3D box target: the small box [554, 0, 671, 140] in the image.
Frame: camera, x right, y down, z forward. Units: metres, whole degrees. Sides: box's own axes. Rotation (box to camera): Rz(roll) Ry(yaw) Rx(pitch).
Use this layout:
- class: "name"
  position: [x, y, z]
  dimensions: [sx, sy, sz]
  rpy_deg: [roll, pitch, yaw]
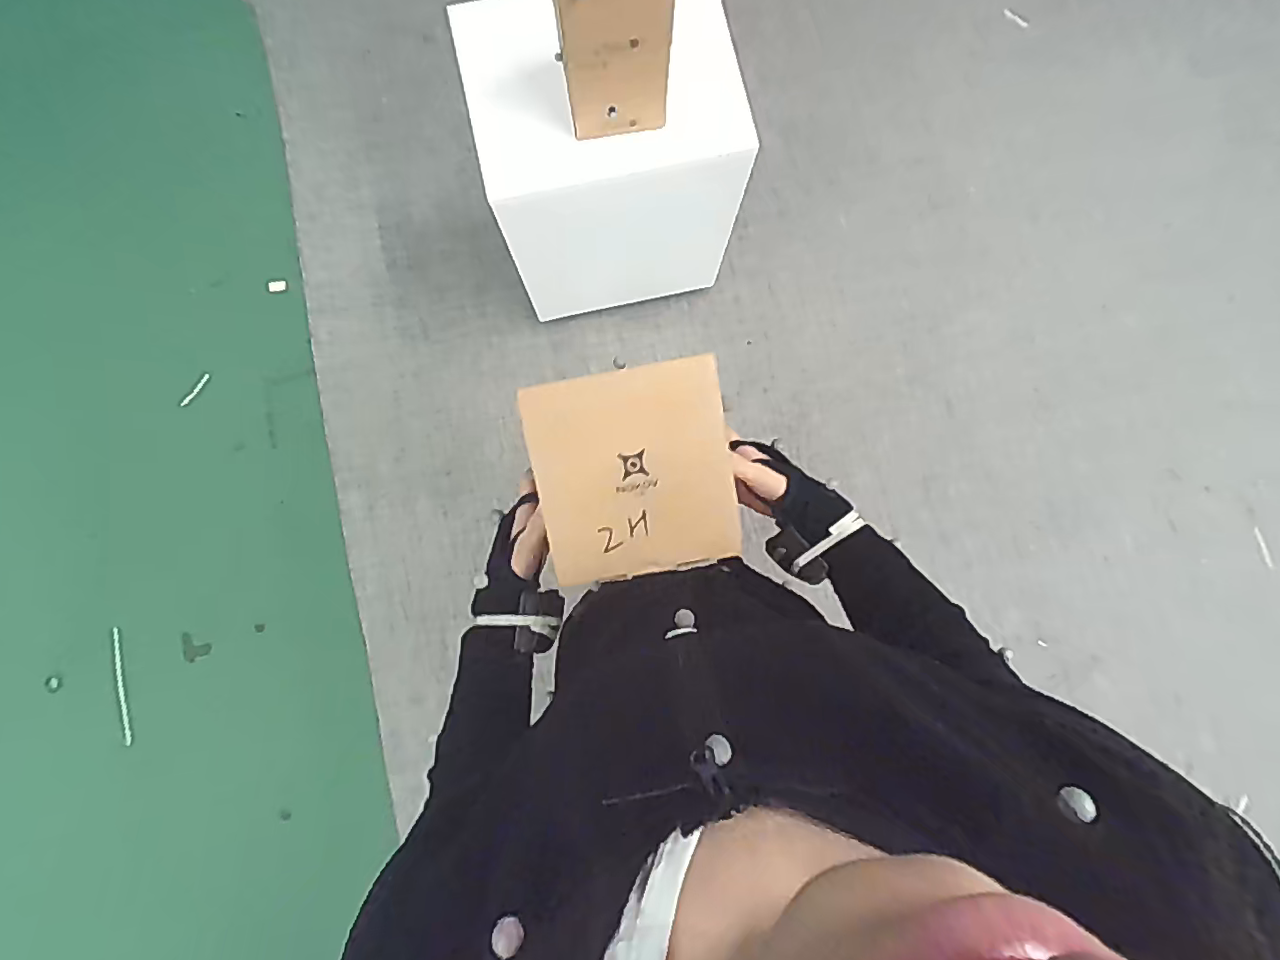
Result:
- class: "small box"
  position: [-0.049, -0.716, 0.906]
  dimensions: [0.168, 0.176, 0.179]
  rpy_deg: [-11, 83, -2]

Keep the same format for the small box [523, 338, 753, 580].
- class: "small box"
  position: [-0.002, -0.025, 0.513]
  dimensions: [0.168, 0.176, 0.179]
  rpy_deg: [-10, 99, 0]
